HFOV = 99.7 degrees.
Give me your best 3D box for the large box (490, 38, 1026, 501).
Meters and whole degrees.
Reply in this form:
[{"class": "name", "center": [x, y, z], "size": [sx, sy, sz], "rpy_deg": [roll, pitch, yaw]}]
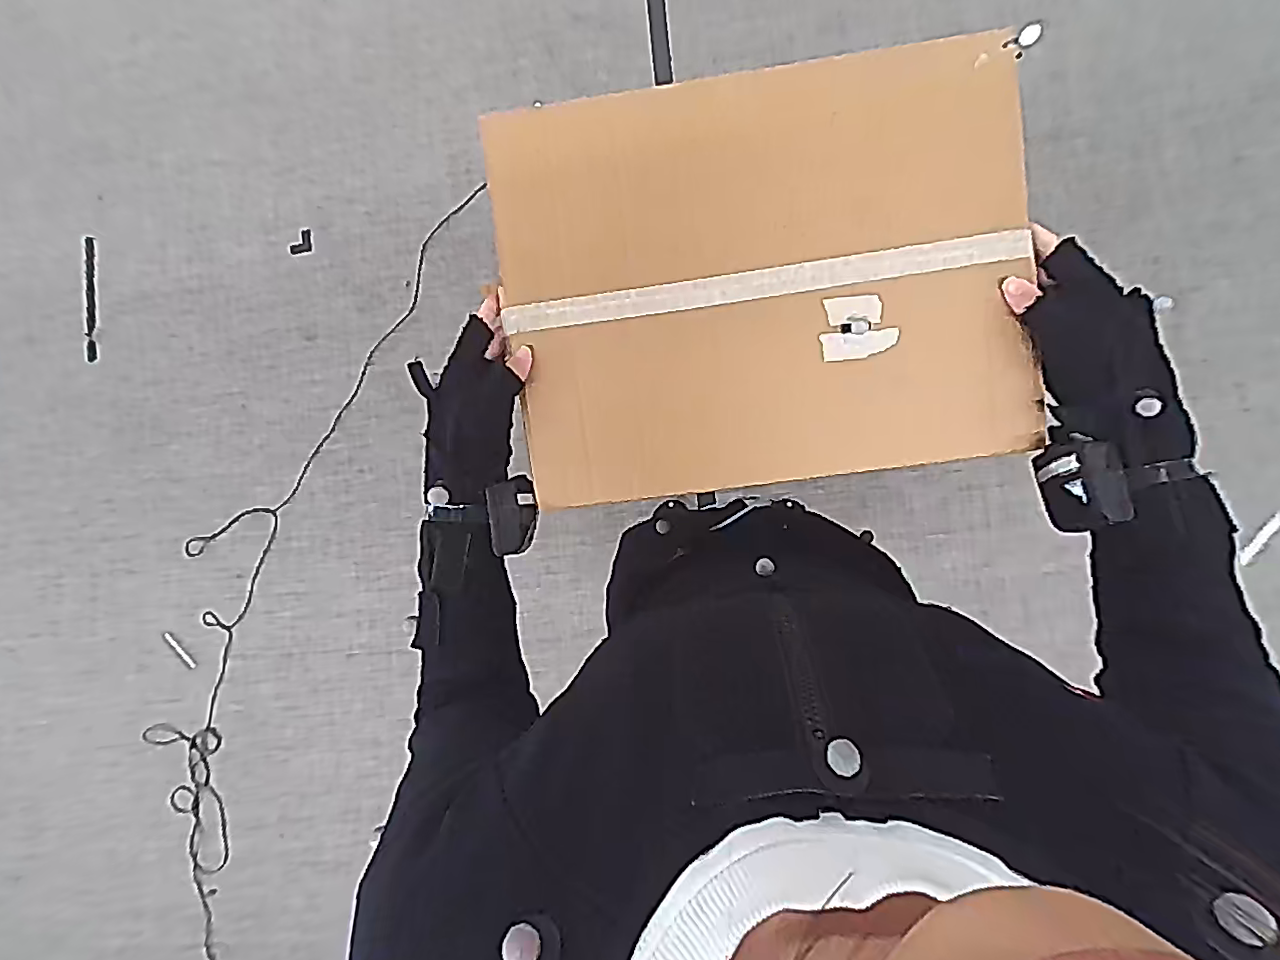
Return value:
[{"class": "large box", "center": [0.100, -0.172, 0.582], "size": [0.408, 0.320, 0.320], "rpy_deg": [-8, 95, 2]}]
